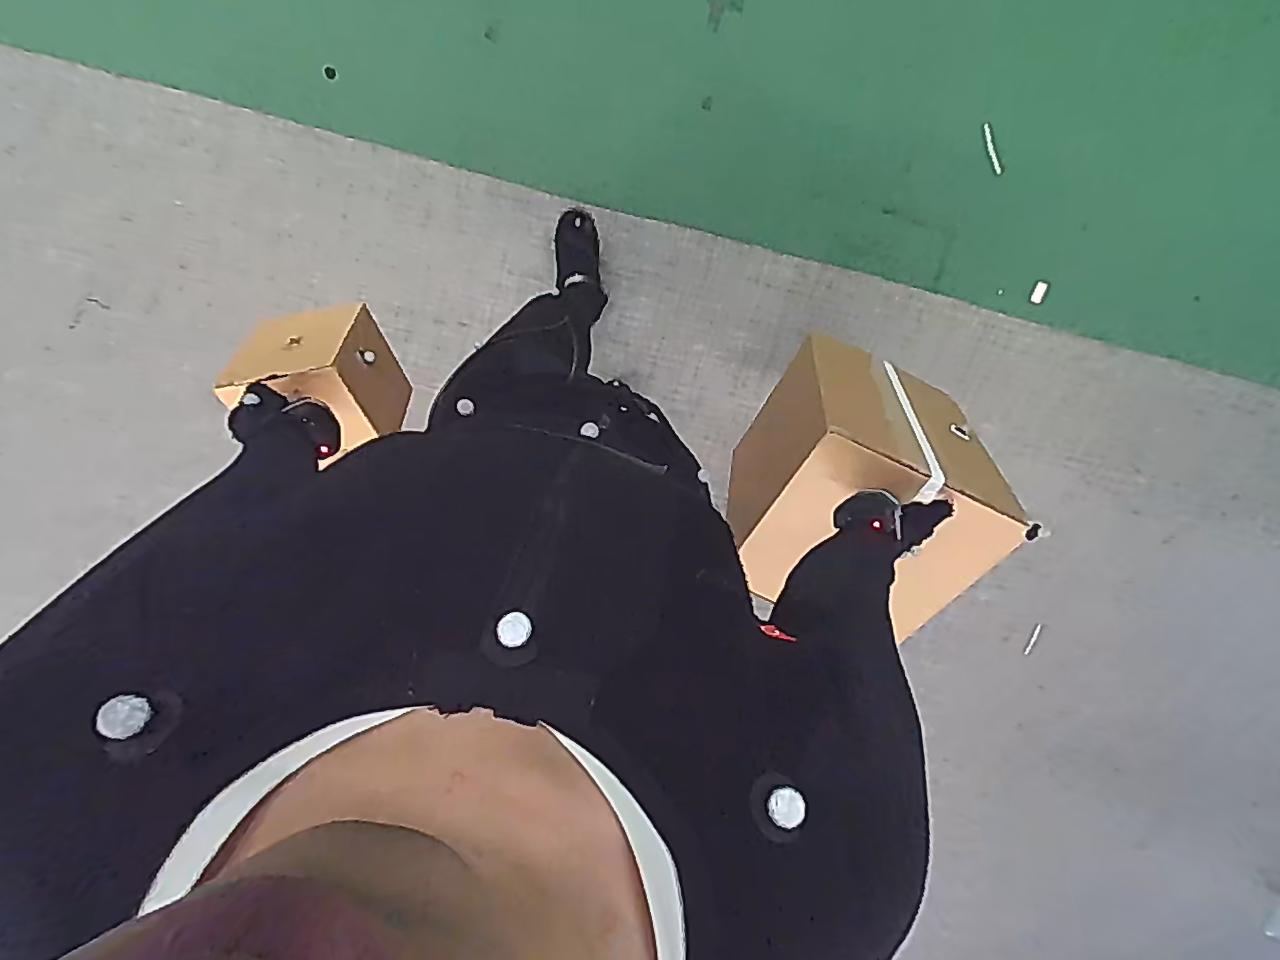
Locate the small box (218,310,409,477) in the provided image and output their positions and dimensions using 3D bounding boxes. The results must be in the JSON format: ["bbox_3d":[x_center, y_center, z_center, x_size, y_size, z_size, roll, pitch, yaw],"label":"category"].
[{"bbox_3d":[-0.477,-0.131,0.828,0.168,0.179,0.176,-11,136,2],"label":"small box"}]
